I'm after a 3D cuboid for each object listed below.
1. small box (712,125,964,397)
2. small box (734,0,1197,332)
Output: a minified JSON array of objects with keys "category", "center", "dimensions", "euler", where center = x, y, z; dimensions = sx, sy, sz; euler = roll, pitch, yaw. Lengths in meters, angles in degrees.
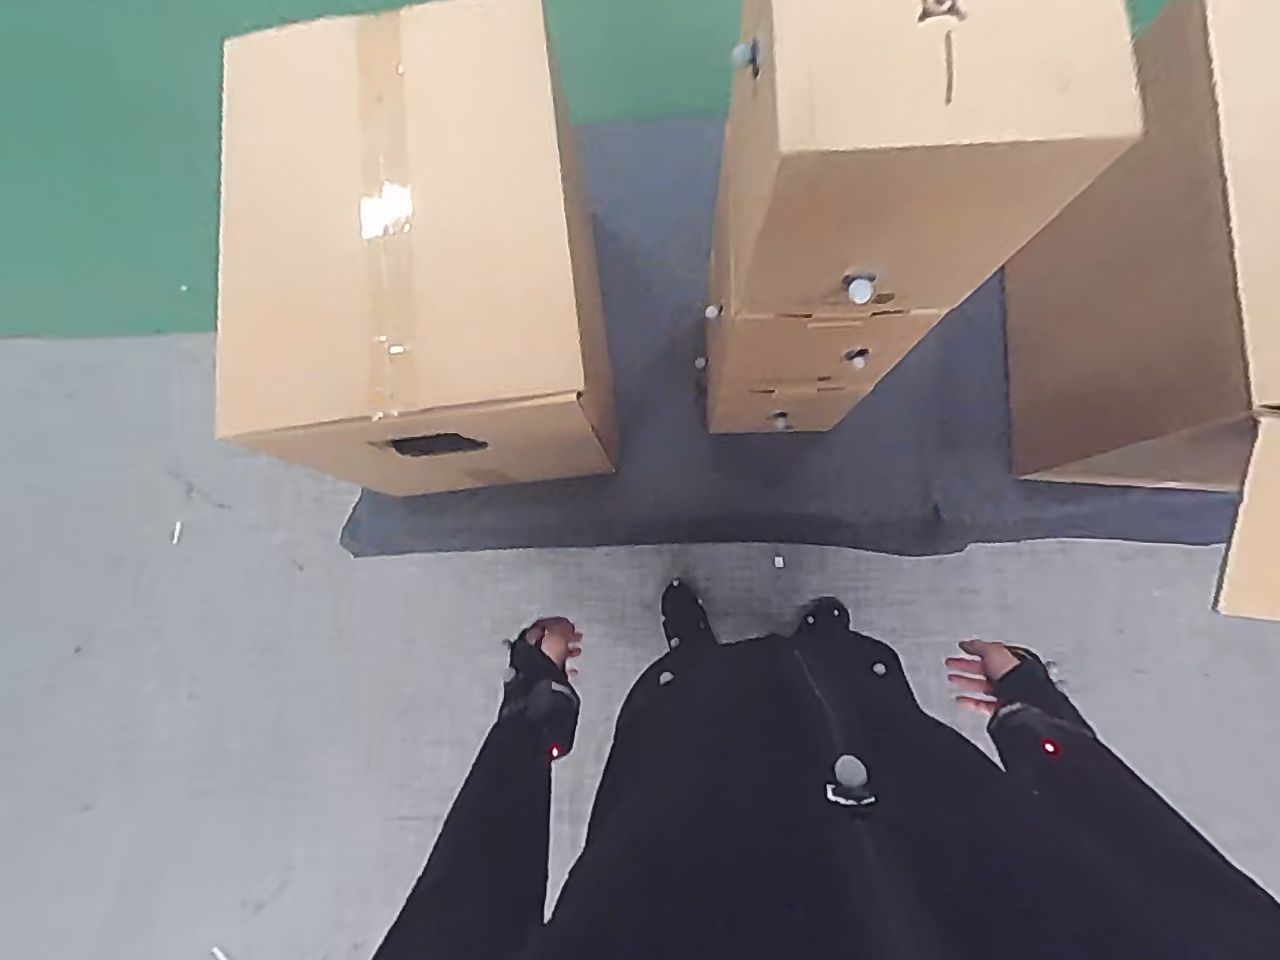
[{"category":"small box","center":[0.153,-0.177,0.476],"dimensions":[0.168,0.176,0.179],"euler":[-2,80,3]},{"category":"small box","center":[0.147,-0.204,0.314],"dimensions":[0.168,0.176,0.179],"euler":[-1,82,3]}]
